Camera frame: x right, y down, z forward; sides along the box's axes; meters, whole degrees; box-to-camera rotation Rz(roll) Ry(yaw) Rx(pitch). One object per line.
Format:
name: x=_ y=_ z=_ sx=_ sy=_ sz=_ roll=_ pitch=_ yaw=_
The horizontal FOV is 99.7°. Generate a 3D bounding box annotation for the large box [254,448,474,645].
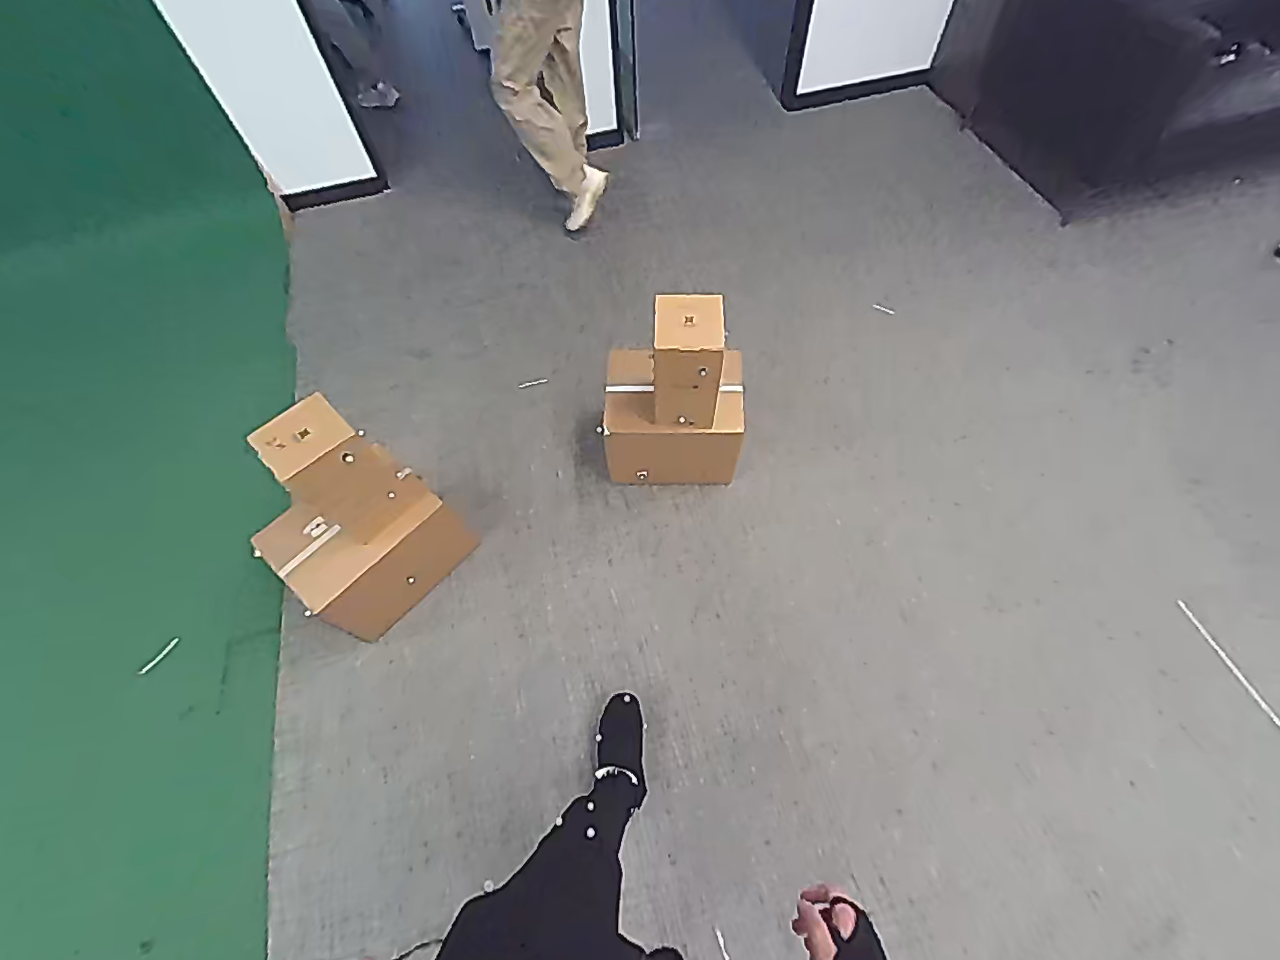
large box: x=-0.761 y=0.194 z=1.554 sx=0.320 sy=0.320 sz=0.408 roll=36 pitch=68 yaw=21

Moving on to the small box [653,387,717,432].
small box: x=0.123 y=-0.254 z=1.497 sx=0.168 sy=0.176 sz=0.179 roll=3 pitch=62 yaw=4

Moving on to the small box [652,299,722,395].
small box: x=0.116 y=-0.328 z=1.351 sx=0.168 sy=0.176 sz=0.179 roll=2 pitch=61 yaw=2

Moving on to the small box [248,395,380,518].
small box: x=-0.718 y=-0.050 z=1.217 sx=0.179 sy=0.176 sz=0.168 roll=-41 pitch=66 yaw=-19
